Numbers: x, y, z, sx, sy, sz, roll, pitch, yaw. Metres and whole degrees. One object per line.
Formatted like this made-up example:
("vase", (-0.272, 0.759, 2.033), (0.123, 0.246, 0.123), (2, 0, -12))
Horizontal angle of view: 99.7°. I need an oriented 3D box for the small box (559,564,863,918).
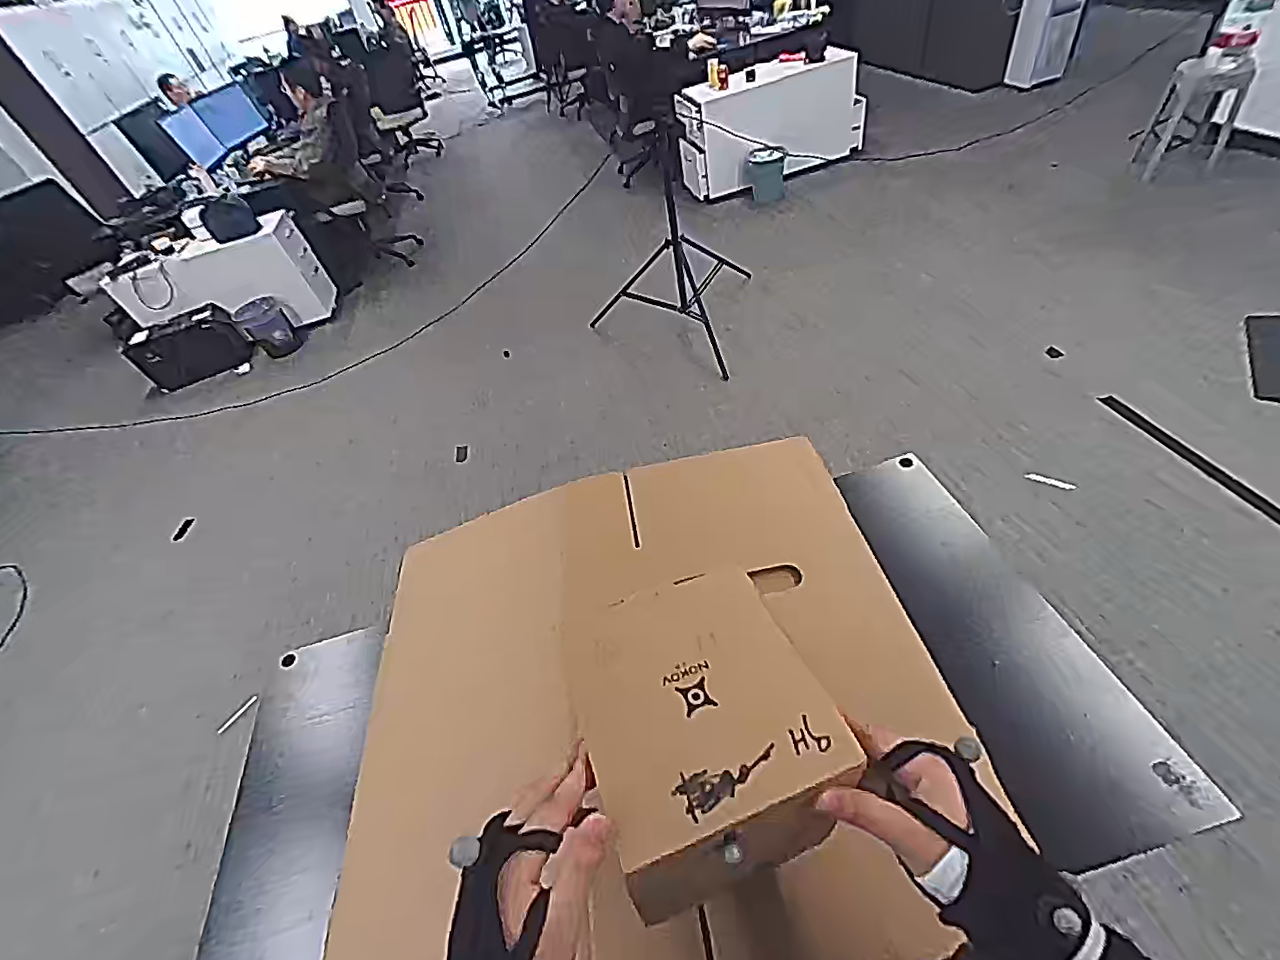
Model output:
("small box", (0.044, 0.204, 0.436), (0.168, 0.176, 0.179), (-17, 42, -11))
